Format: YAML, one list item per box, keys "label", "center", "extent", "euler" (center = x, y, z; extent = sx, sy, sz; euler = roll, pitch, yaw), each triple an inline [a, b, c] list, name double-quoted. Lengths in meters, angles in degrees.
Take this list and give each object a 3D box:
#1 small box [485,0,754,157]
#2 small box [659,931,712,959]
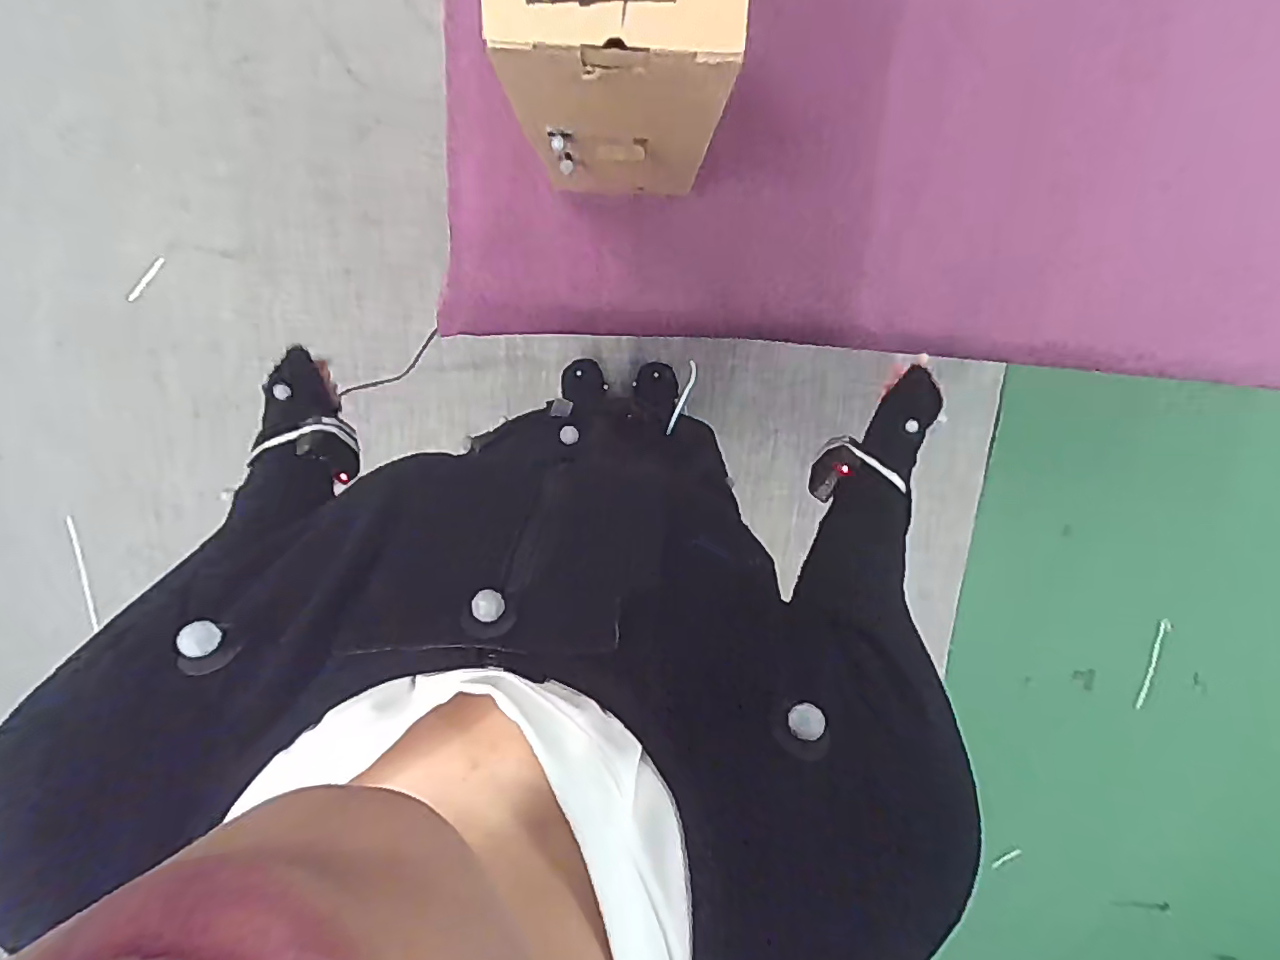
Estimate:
- label: "small box"
  center: [-0.010, -0.361, 0.394]
  extent: [0.168, 0.176, 0.179]
  euler: [4, 104, -5]
- label: "small box"
  center: [0.151, 1.632, 1.770]
  extent: [0.168, 0.176, 0.179]
  euler: [2, 105, -2]
